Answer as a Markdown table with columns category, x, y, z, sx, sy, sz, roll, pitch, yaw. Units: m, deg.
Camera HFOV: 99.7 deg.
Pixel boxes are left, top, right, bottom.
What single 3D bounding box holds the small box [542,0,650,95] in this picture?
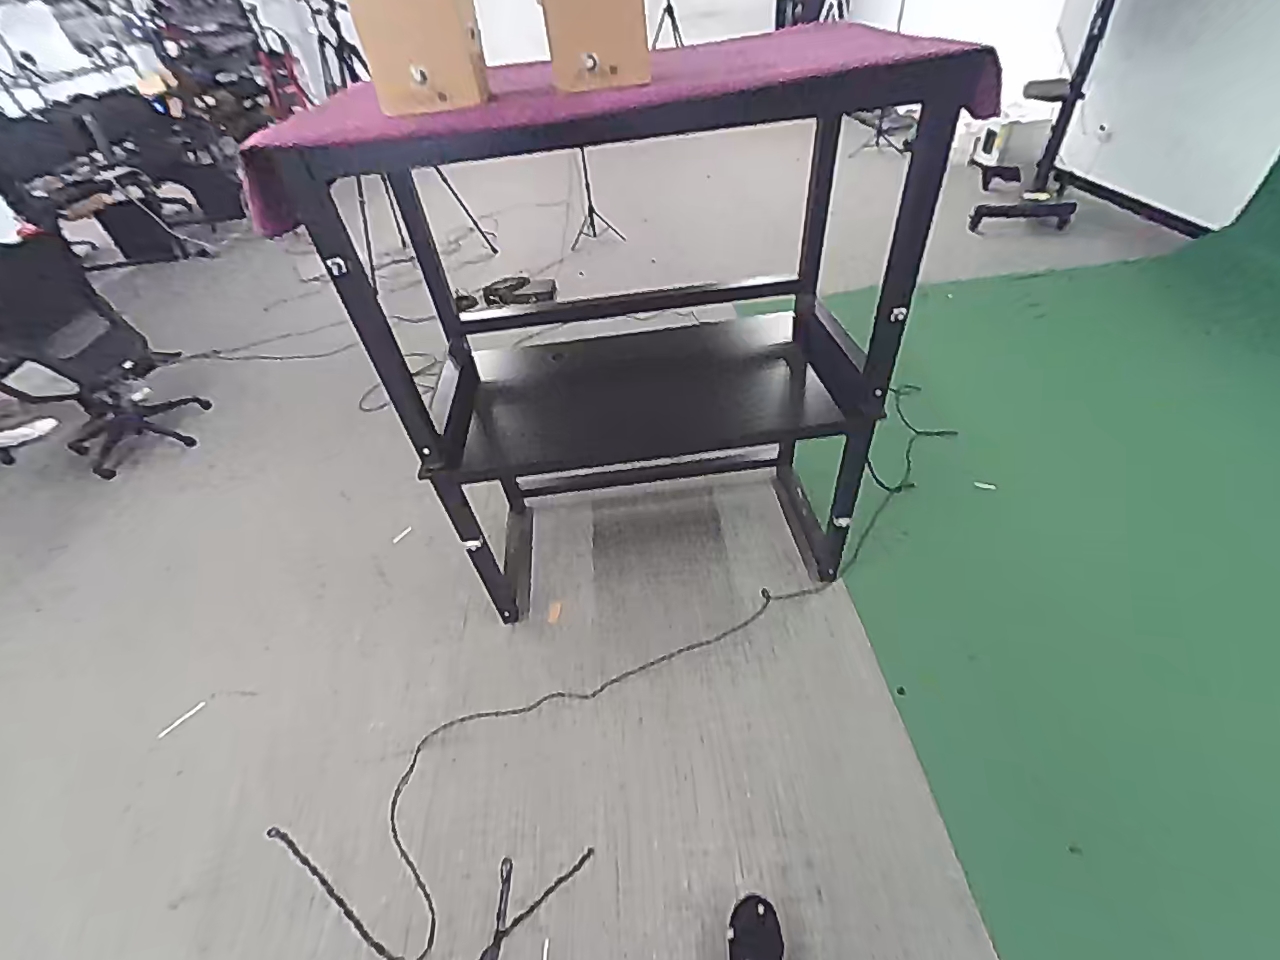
| category | x | y | z | sx | sy | sz | roll | pitch | yaw |
| --- | --- | --- | --- | --- | --- | --- | --- | --- | --- |
| small box | -0.074 | -0.780 | 0.931 | 0.168 | 0.176 | 0.179 | -6 | 43 | 2 |

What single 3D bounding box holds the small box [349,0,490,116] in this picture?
| category | x | y | z | sx | sy | sz | roll | pitch | yaw |
| --- | --- | --- | --- | --- | --- | --- | --- | --- | --- |
| small box | -0.360 | -0.731 | 0.914 | 0.168 | 0.176 | 0.179 | -8 | 43 | -1 |
